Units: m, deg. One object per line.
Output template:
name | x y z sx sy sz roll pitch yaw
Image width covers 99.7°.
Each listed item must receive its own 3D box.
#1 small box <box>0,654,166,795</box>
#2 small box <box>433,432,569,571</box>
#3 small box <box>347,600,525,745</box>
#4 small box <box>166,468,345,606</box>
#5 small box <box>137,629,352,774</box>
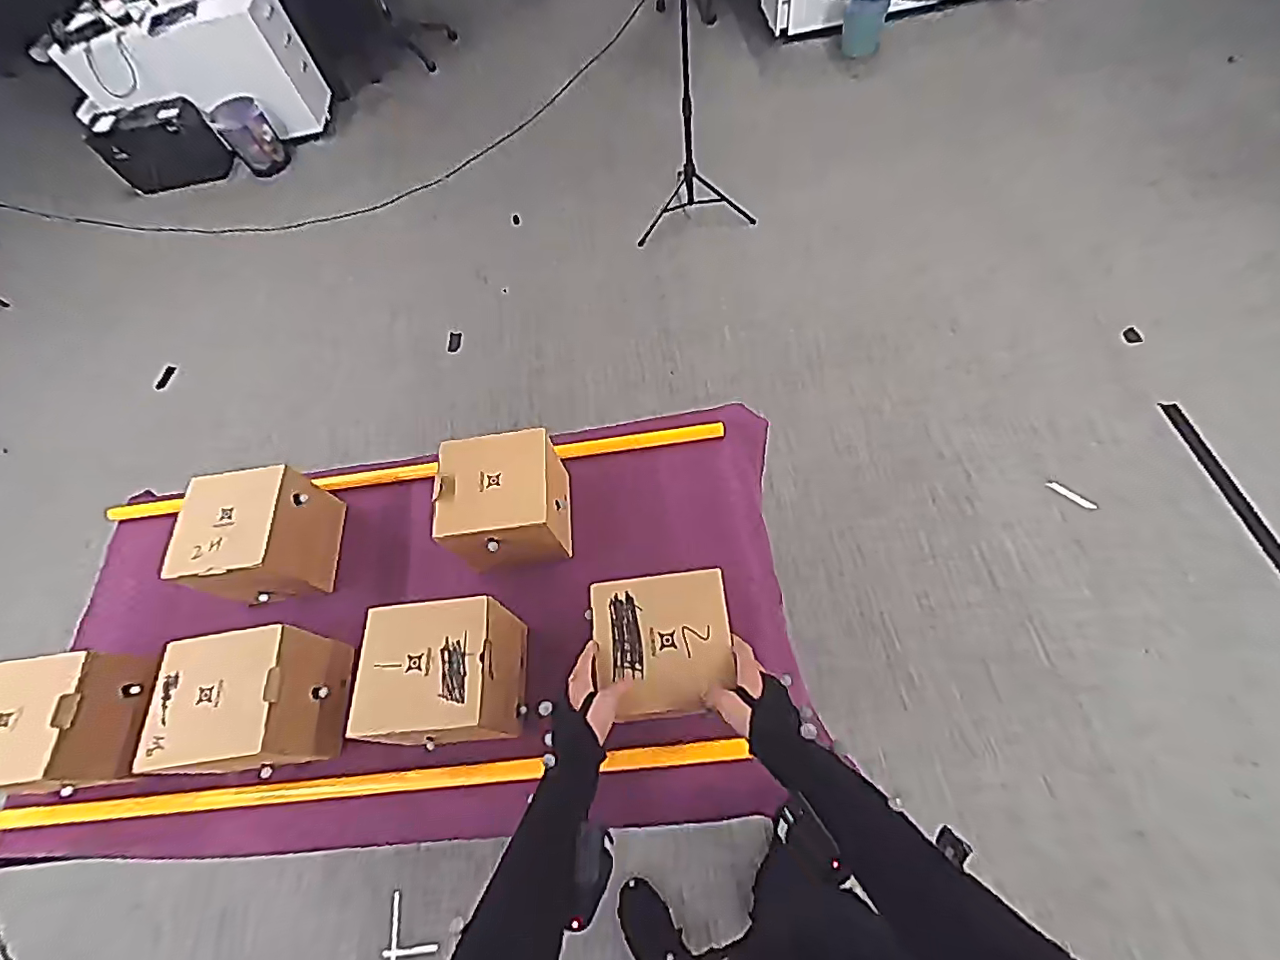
small box | -0.847 0.367 0.809 0.179 0.176 0.168 -8 61 1
small box | -0.217 0.042 0.896 0.179 0.176 0.168 -8 62 4
small box | -0.274 0.281 0.775 0.179 0.176 0.168 -7 60 6
small box | -0.635 0.102 0.922 0.168 0.176 0.179 -8 63 4
small box | -0.555 0.327 0.791 0.179 0.176 0.168 -9 61 3
